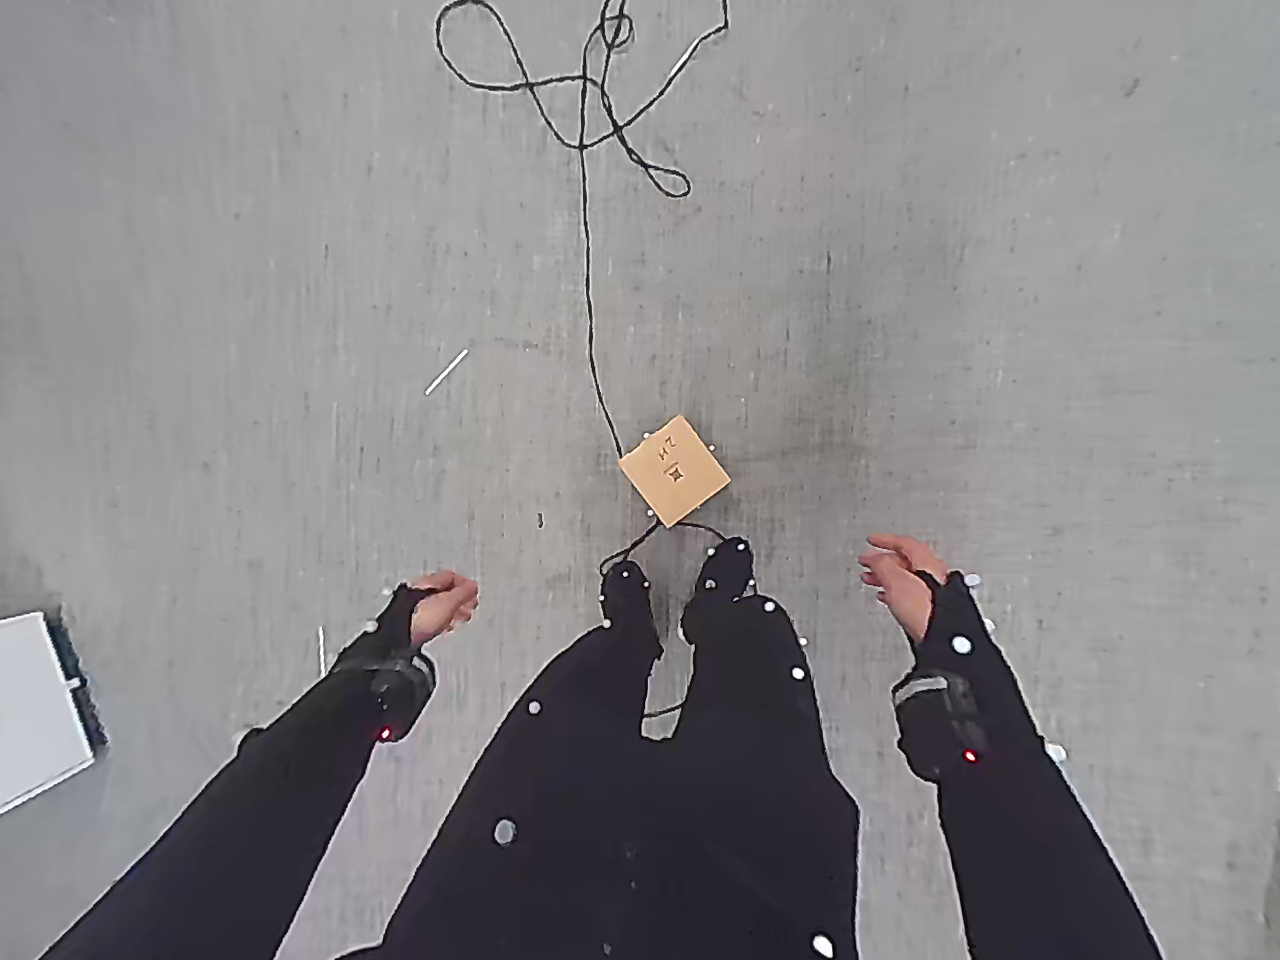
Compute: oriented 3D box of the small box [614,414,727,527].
[{"bbox_3d":[0.066,-0.024,1.176,0.168,0.176,0.179,-37,90,3],"label":"small box"}]
